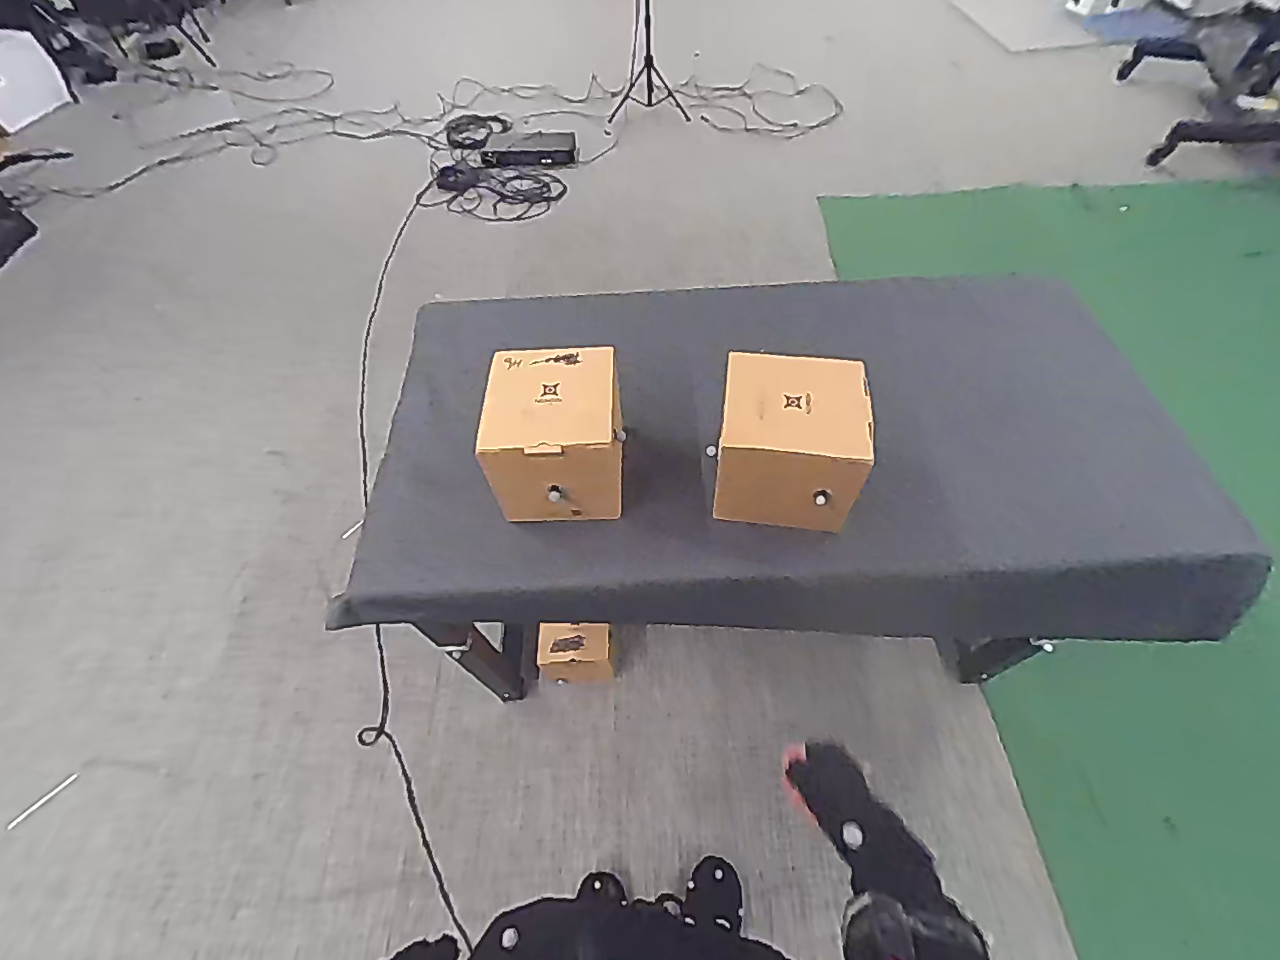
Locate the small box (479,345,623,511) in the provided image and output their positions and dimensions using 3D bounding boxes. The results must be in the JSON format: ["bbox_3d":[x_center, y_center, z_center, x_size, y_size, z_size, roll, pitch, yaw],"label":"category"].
[{"bbox_3d":[-0.110,-0.066,0.759,0.168,0.176,0.179,-1,56,1],"label":"small box"}]

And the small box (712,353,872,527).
[{"bbox_3d":[0.197,-0.049,0.738,0.179,0.176,0.168,6,56,8],"label":"small box"}]
